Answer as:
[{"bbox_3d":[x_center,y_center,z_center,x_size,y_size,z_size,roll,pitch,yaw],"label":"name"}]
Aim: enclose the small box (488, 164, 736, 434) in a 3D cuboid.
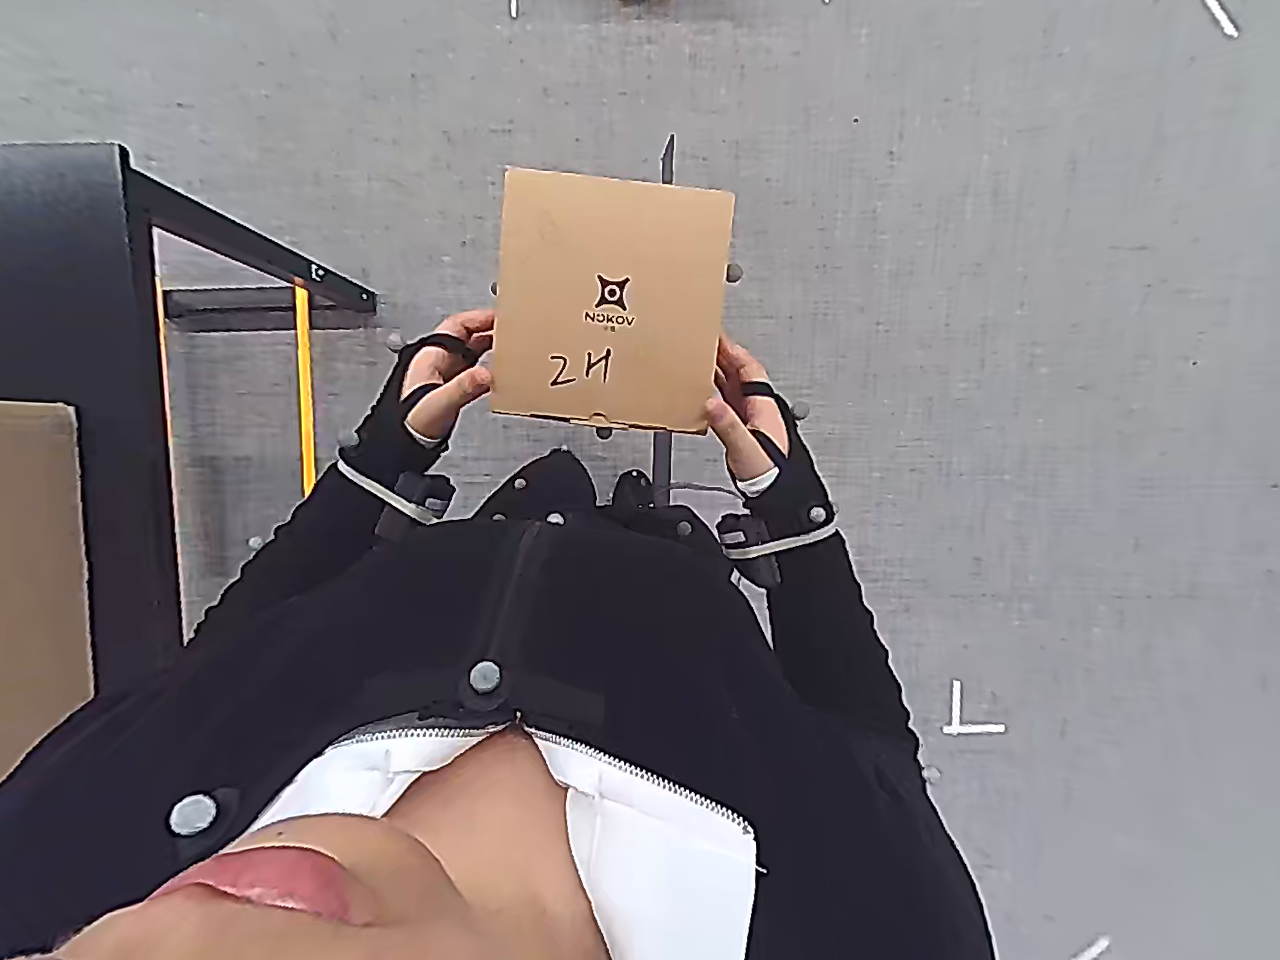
[{"bbox_3d":[-0.023,-0.137,0.468,0.168,0.176,0.179,6,97,-1],"label":"small box"}]
